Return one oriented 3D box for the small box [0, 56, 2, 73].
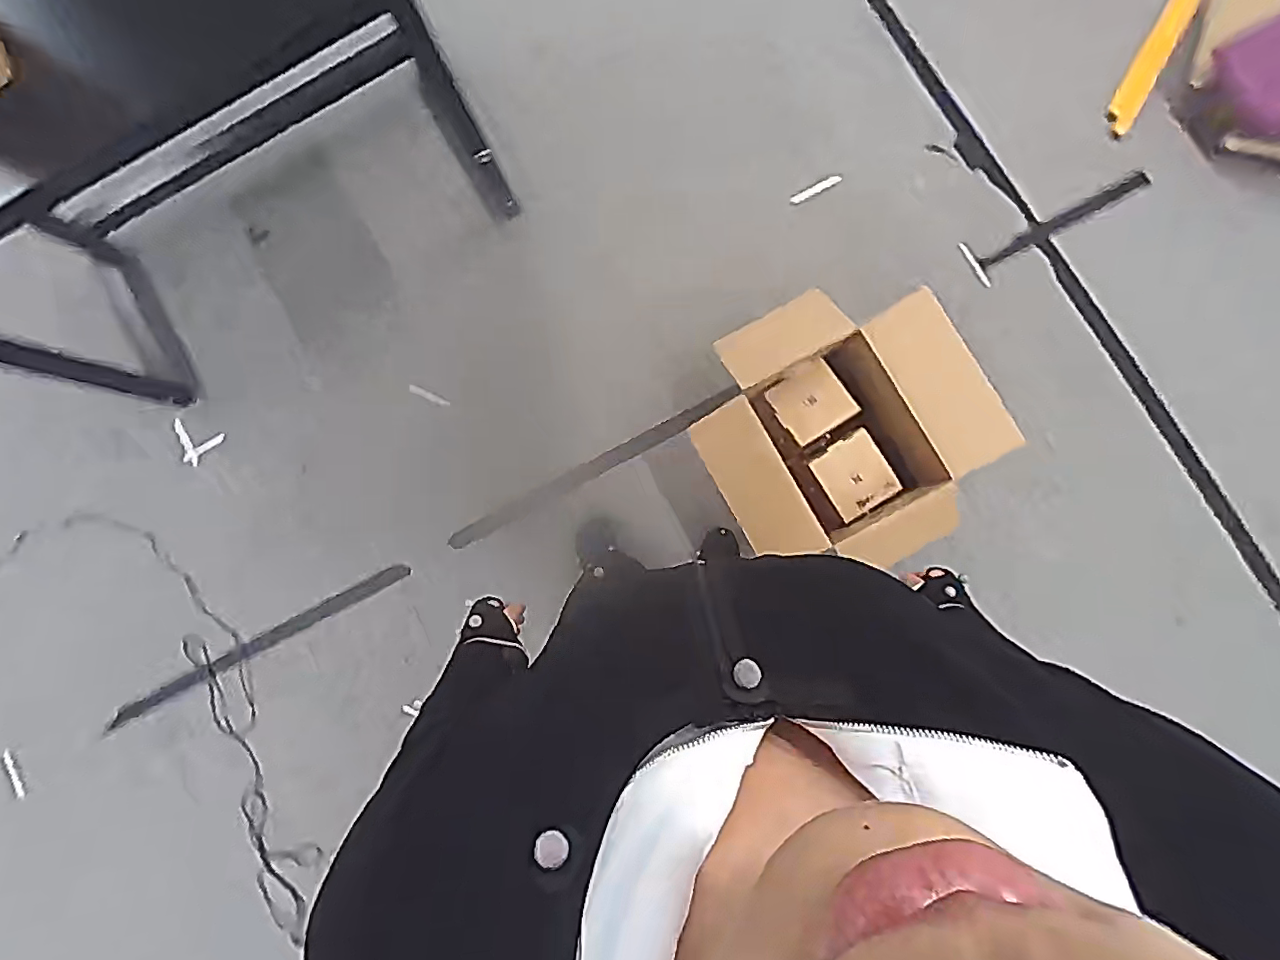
[{"bbox_3d":[-1.168,-0.715,0.837,0.179,0.176,0.168,-30,84,0],"label":"small box"}]
